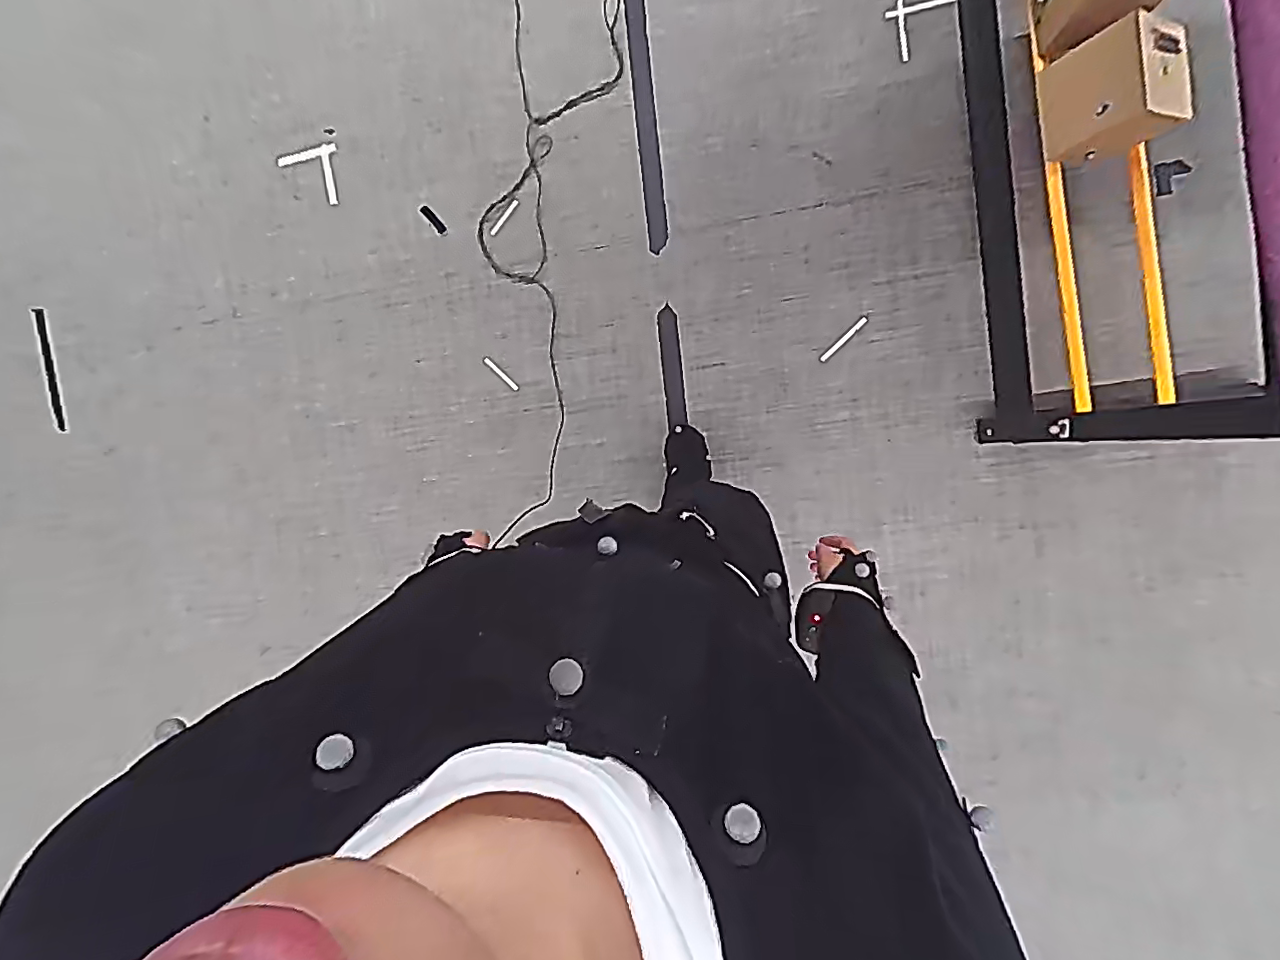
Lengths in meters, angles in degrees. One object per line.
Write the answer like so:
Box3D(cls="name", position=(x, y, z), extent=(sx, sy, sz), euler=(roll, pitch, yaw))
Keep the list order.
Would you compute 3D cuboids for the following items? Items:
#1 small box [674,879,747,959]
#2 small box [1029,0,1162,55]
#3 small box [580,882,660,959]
Box3D(cls="small box", position=(0.178, 1.141, 1.339), extent=(0.168, 0.176, 0.179), euler=(-4, 92, 8))
Box3D(cls="small box", position=(0.867, -0.947, 1.004), extent=(0.179, 0.176, 0.168), euler=(-10, 92, 10))
Box3D(cls="small box", position=(-0.044, 1.172, 1.375), extent=(0.168, 0.176, 0.179), euler=(-6, 92, 9))
